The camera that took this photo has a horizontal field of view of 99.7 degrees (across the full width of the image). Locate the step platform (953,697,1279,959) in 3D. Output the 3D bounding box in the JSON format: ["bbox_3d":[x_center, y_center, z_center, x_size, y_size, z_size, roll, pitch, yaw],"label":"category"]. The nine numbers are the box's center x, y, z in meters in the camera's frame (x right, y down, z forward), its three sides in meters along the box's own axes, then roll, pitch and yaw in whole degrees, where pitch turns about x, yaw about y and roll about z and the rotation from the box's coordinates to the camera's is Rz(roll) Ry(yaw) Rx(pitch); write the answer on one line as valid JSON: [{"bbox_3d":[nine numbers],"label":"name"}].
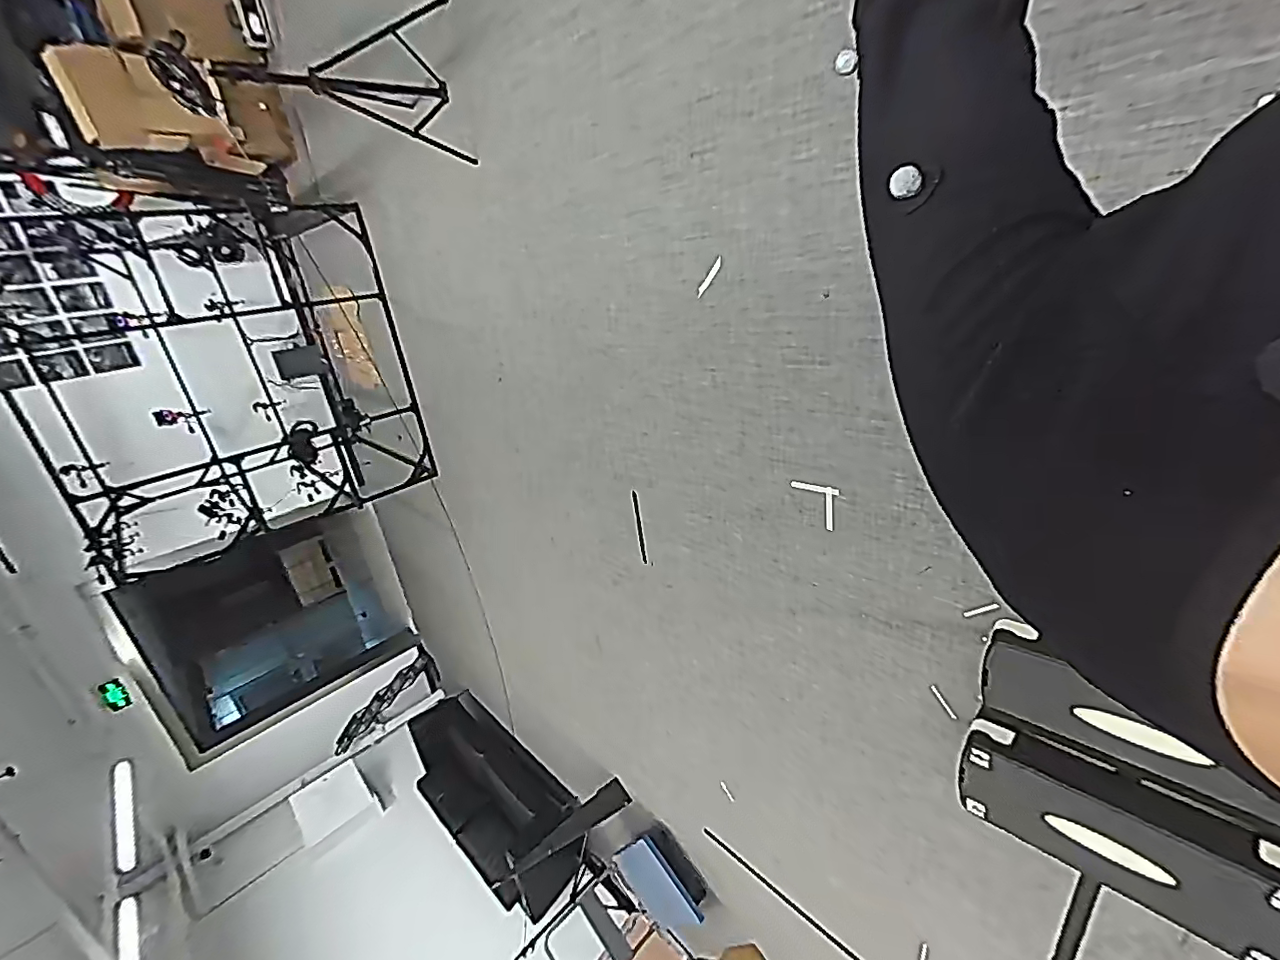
[{"bbox_3d":[1.206,0.860,1.402,0.684,0.204,0.286,14,121,47],"label":"step platform"}]
